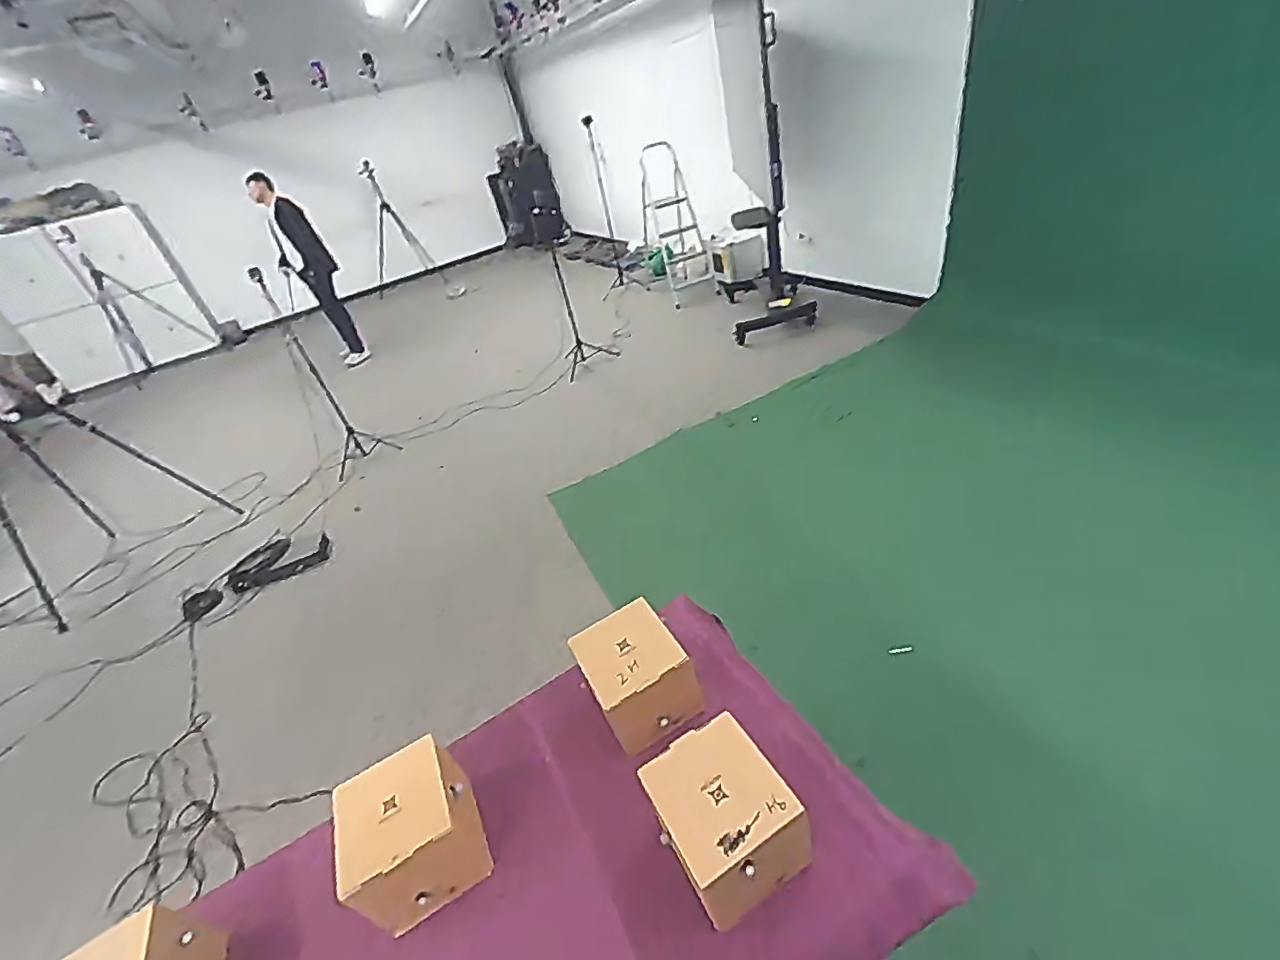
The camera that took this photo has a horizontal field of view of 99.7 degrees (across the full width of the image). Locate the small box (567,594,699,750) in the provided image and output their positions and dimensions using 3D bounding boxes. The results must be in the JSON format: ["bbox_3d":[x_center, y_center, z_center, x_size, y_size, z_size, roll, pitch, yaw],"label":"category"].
[{"bbox_3d":[-0.011,0.354,1.004,0.168,0.176,0.179,-28,38,-15],"label":"small box"}]

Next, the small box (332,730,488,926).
[{"bbox_3d":[-0.365,0.552,0.864,0.168,0.176,0.179,-26,38,-17],"label":"small box"}]

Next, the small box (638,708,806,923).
[{"bbox_3d":[0.120,0.483,0.786,0.168,0.176,0.179,-27,35,-16],"label":"small box"}]
